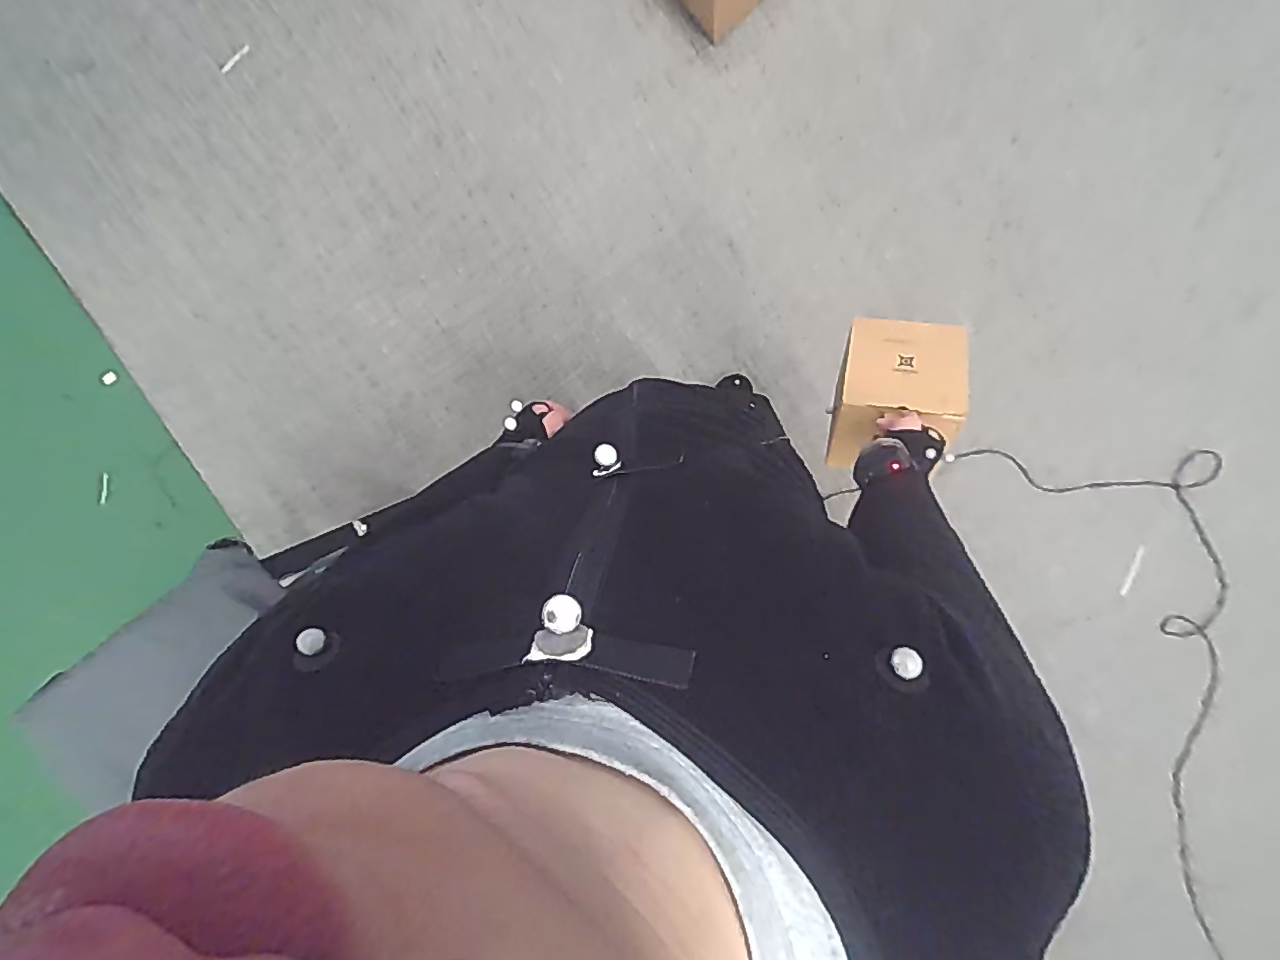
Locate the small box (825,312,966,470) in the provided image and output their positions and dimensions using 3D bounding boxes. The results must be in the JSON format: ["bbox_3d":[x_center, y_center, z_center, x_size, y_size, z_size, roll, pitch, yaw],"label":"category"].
[{"bbox_3d":[0.397,-0.137,0.859,0.168,0.176,0.179,11,61,14],"label":"small box"}]
